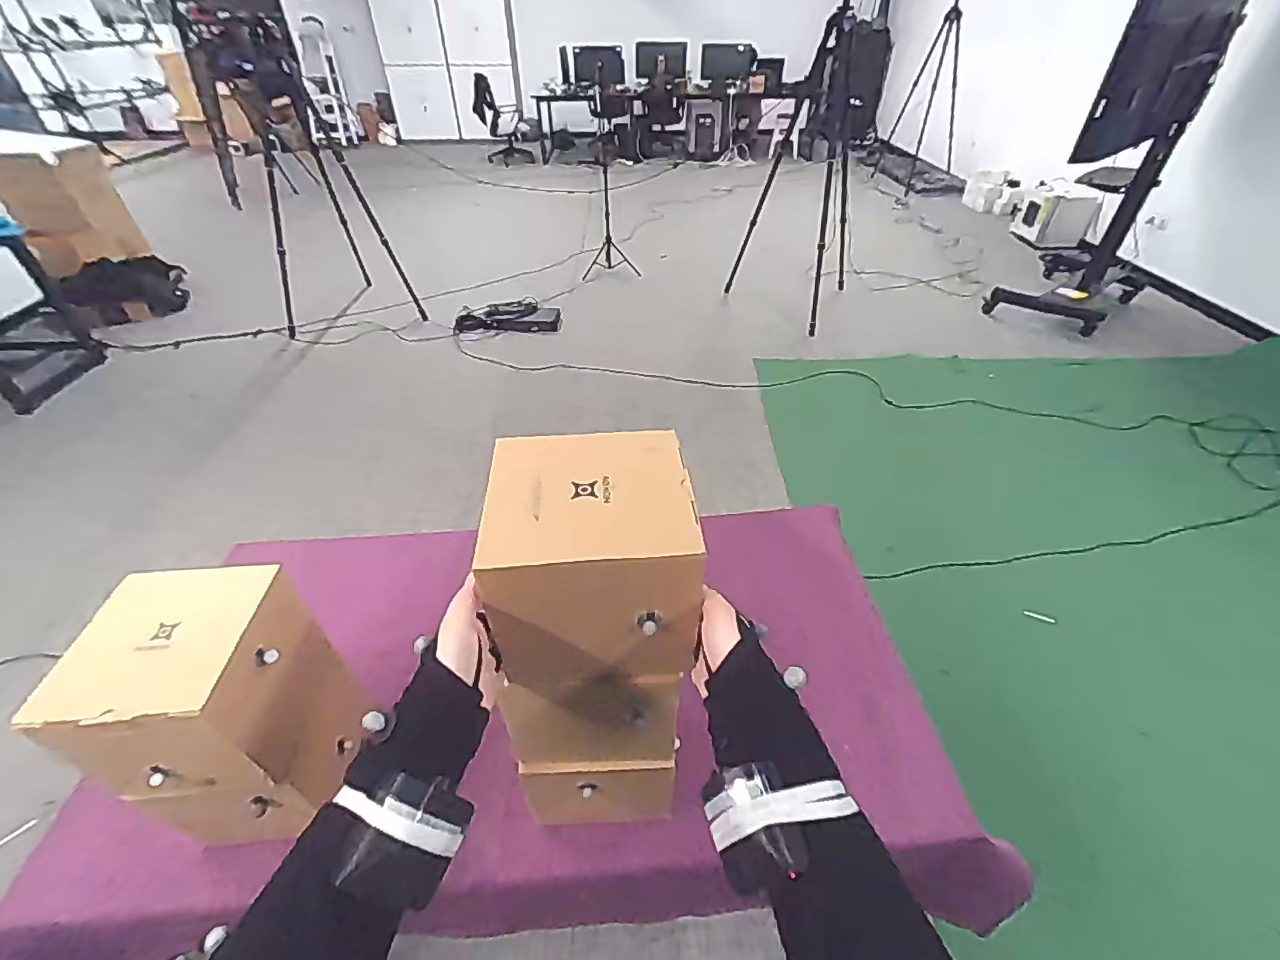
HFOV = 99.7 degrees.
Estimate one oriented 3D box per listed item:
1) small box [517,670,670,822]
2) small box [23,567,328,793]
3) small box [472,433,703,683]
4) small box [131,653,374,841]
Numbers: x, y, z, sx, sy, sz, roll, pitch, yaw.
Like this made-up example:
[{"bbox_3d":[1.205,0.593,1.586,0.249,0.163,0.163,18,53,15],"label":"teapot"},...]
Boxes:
[{"bbox_3d":[-0.052,0.333,0.715,0.179,0.176,0.168,-1,41,-1],"label":"small box"},{"bbox_3d":[-0.480,0.220,0.603,0.168,0.176,0.179,-3,42,-3],"label":"small box"},{"bbox_3d":[-0.044,0.073,0.515,0.179,0.176,0.168,-3,40,-3],"label":"small box"},{"bbox_3d":[-0.476,0.347,0.705,0.179,0.176,0.168,-3,40,-3],"label":"small box"}]
